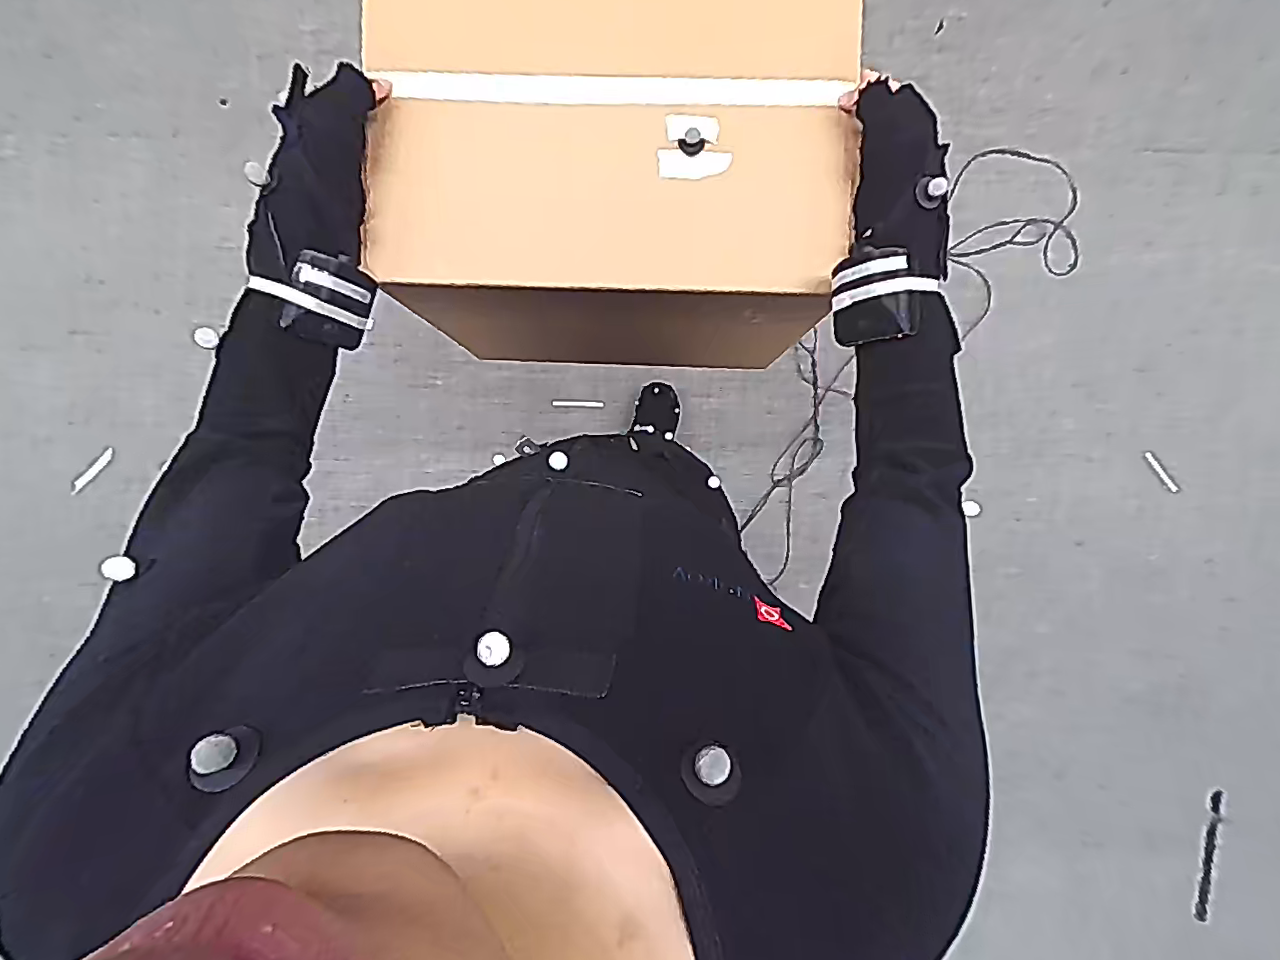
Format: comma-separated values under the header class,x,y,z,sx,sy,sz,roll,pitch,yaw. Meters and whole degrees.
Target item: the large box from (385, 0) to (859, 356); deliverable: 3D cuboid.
class,x,y,z,sx,sy,sz,roll,pitch,yaw
large box,-0.017,-0.326,0.604,0.408,0.320,0.320,2,91,0
